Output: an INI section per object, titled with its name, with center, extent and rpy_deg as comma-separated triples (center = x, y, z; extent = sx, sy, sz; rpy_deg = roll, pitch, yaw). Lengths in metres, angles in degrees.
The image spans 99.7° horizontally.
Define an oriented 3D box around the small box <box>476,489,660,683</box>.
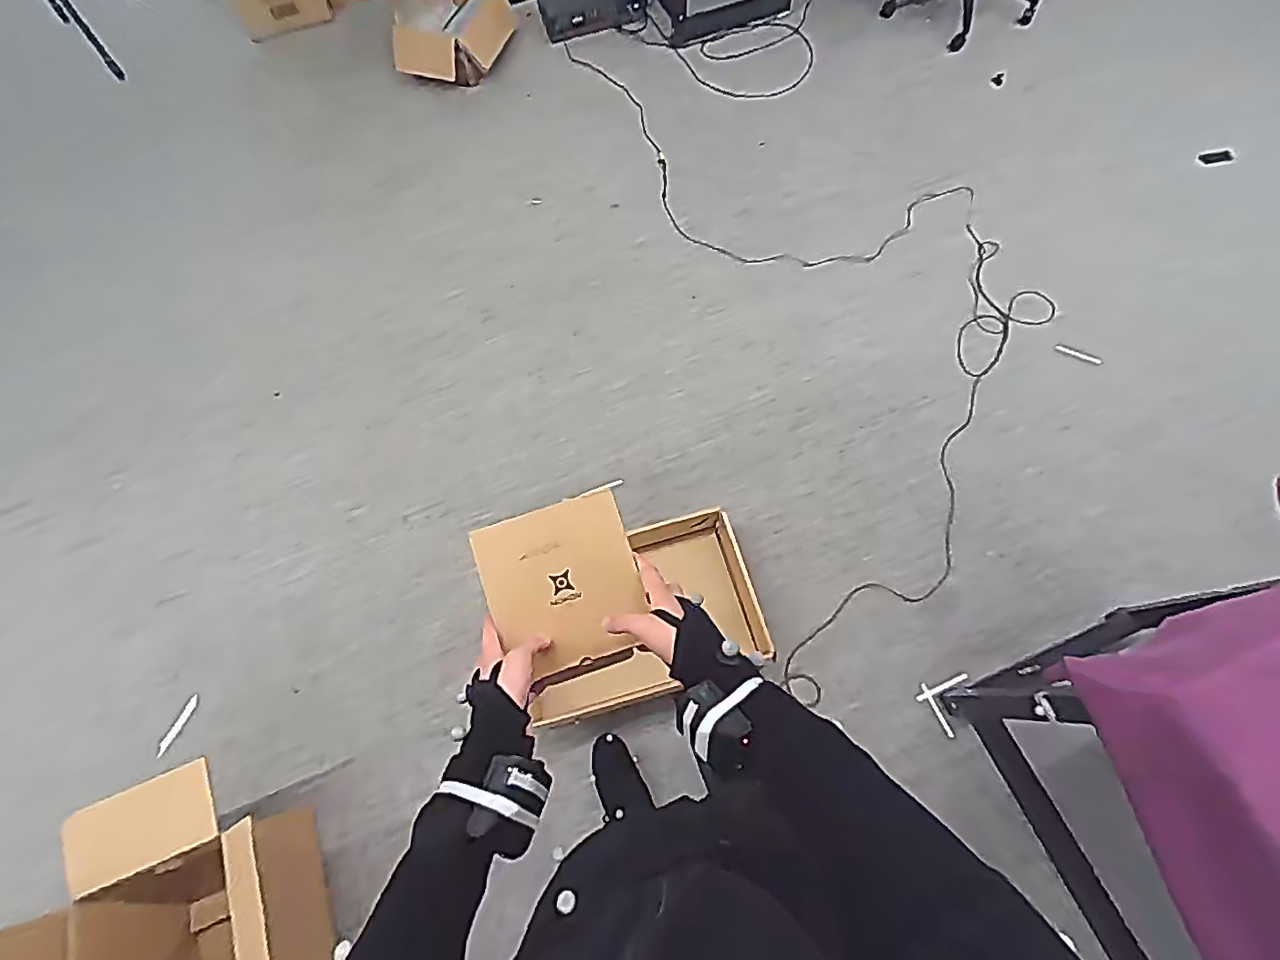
[small box]
center = -0.079, 0.121, 0.665
extent = 0.168, 0.176, 0.179
rpy_deg = -17, 84, -3
